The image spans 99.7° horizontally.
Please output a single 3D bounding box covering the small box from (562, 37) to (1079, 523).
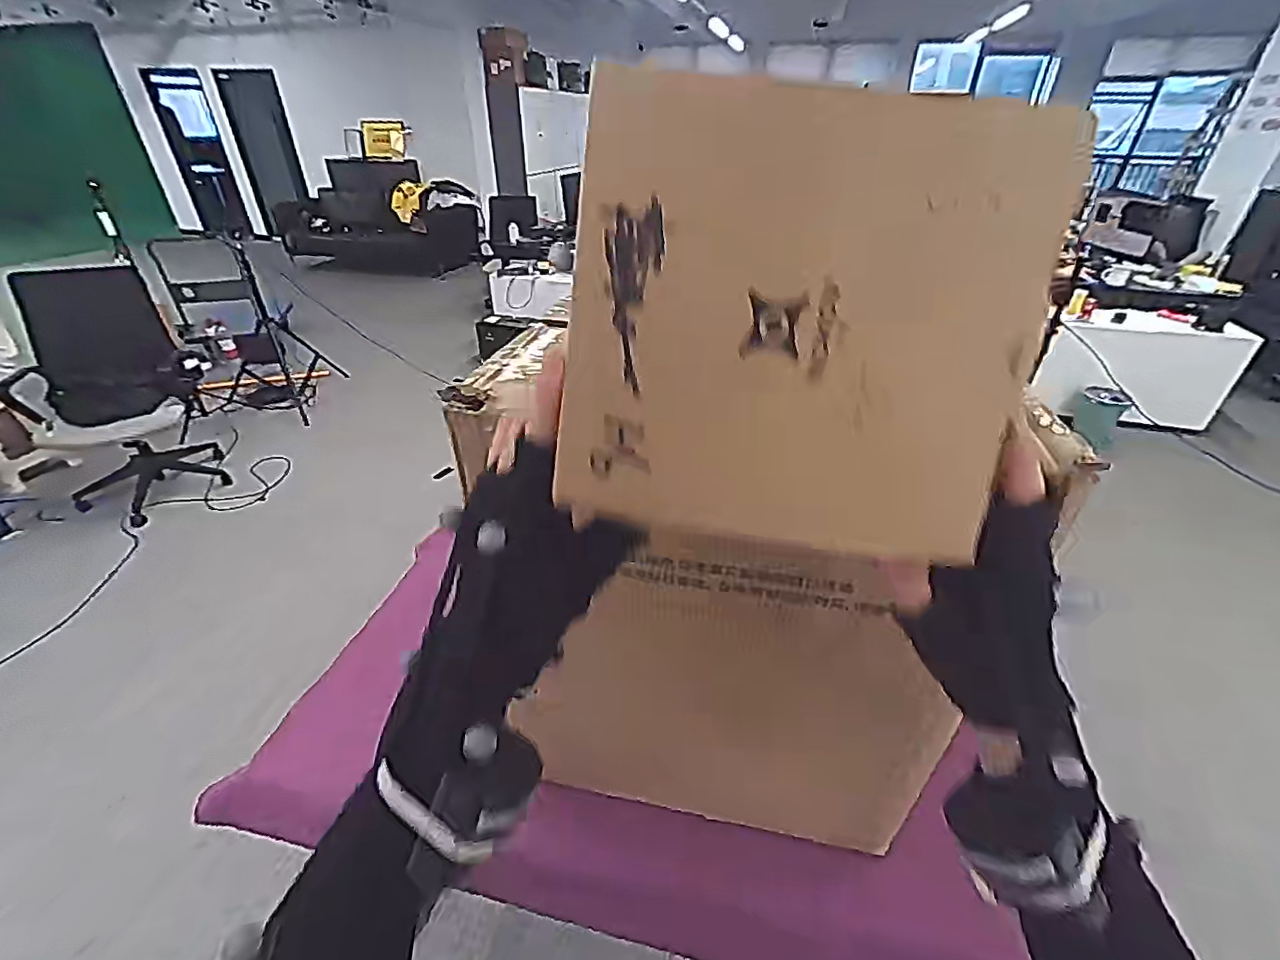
[{"bbox_3d":[0.067,-0.089,0.292,0.179,0.168,0.176,9,12,2],"label":"small box"}]
